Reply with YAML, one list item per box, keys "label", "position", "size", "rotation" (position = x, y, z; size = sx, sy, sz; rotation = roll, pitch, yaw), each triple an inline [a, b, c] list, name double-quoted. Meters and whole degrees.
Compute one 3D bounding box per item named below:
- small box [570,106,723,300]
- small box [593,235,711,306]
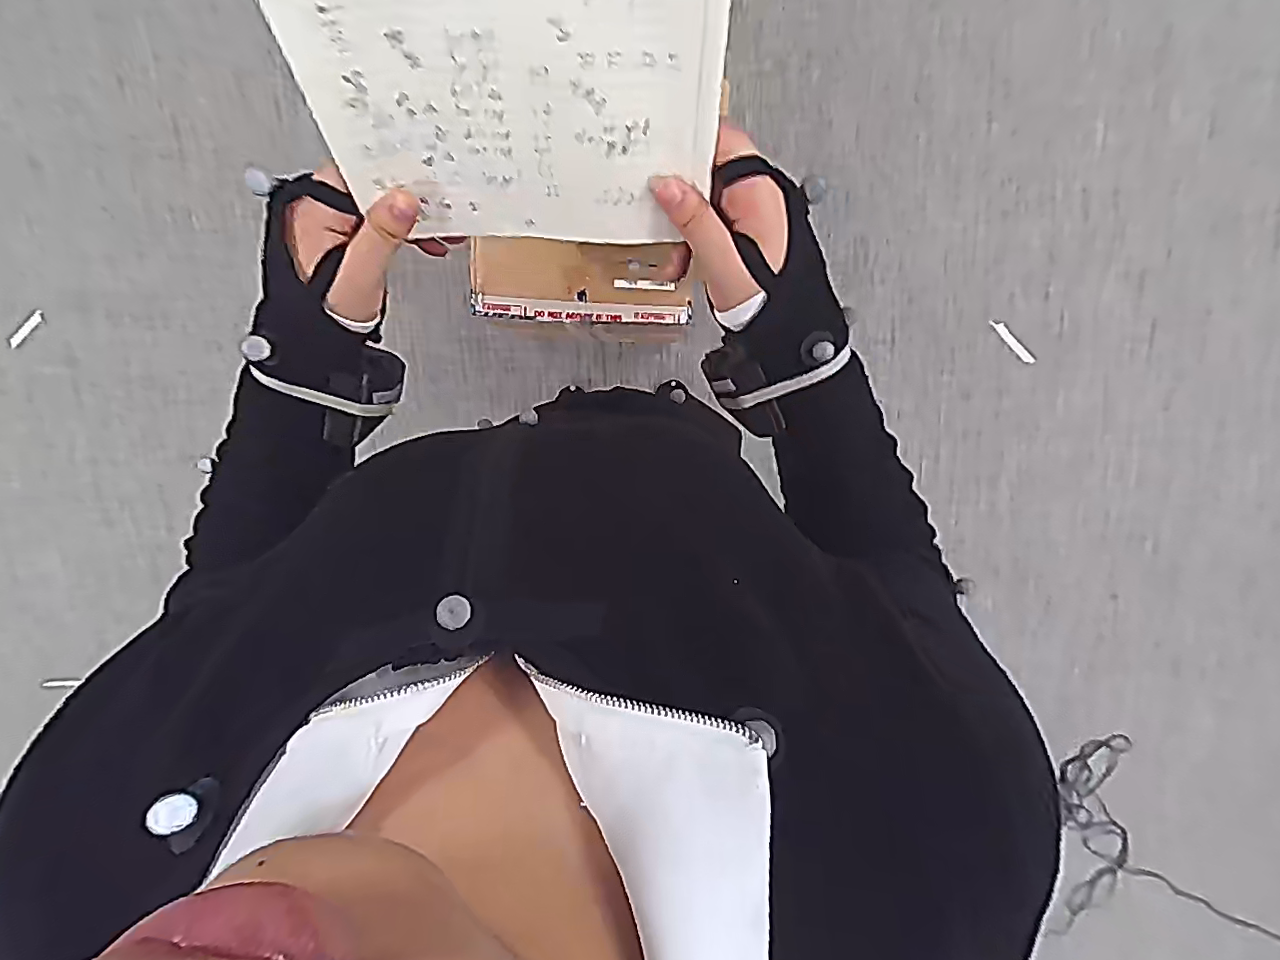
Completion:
- label: "small box"
  position: [0.001, -0.343, 0.703]
  size: [0.168, 0.176, 0.179]
  rotation: [5, 102, -4]
- label: "small box"
  position: [0.014, -0.376, 0.865]
  size: [0.179, 0.176, 0.168]
  rotation: [1, 101, -2]
